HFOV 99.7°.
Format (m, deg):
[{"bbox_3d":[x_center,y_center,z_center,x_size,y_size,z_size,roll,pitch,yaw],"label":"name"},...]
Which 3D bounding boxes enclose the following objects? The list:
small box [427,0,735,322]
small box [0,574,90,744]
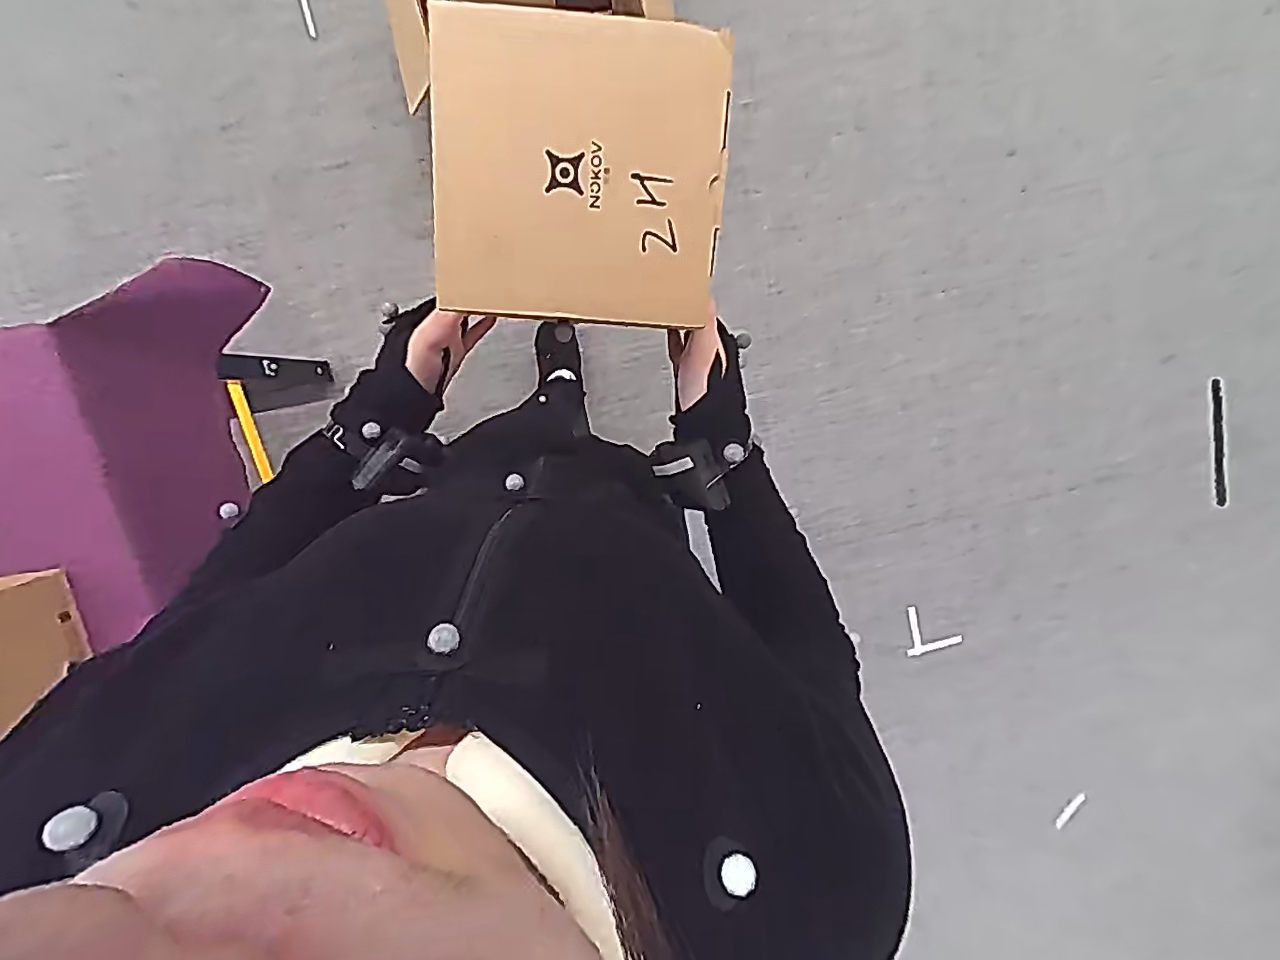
[{"bbox_3d":[-0.040,-0.209,0.400,0.179,0.176,0.168,3,106,-3],"label":"small box"},{"bbox_3d":[-0.821,0.222,0.641,0.179,0.176,0.168,-8,100,-2],"label":"small box"}]
